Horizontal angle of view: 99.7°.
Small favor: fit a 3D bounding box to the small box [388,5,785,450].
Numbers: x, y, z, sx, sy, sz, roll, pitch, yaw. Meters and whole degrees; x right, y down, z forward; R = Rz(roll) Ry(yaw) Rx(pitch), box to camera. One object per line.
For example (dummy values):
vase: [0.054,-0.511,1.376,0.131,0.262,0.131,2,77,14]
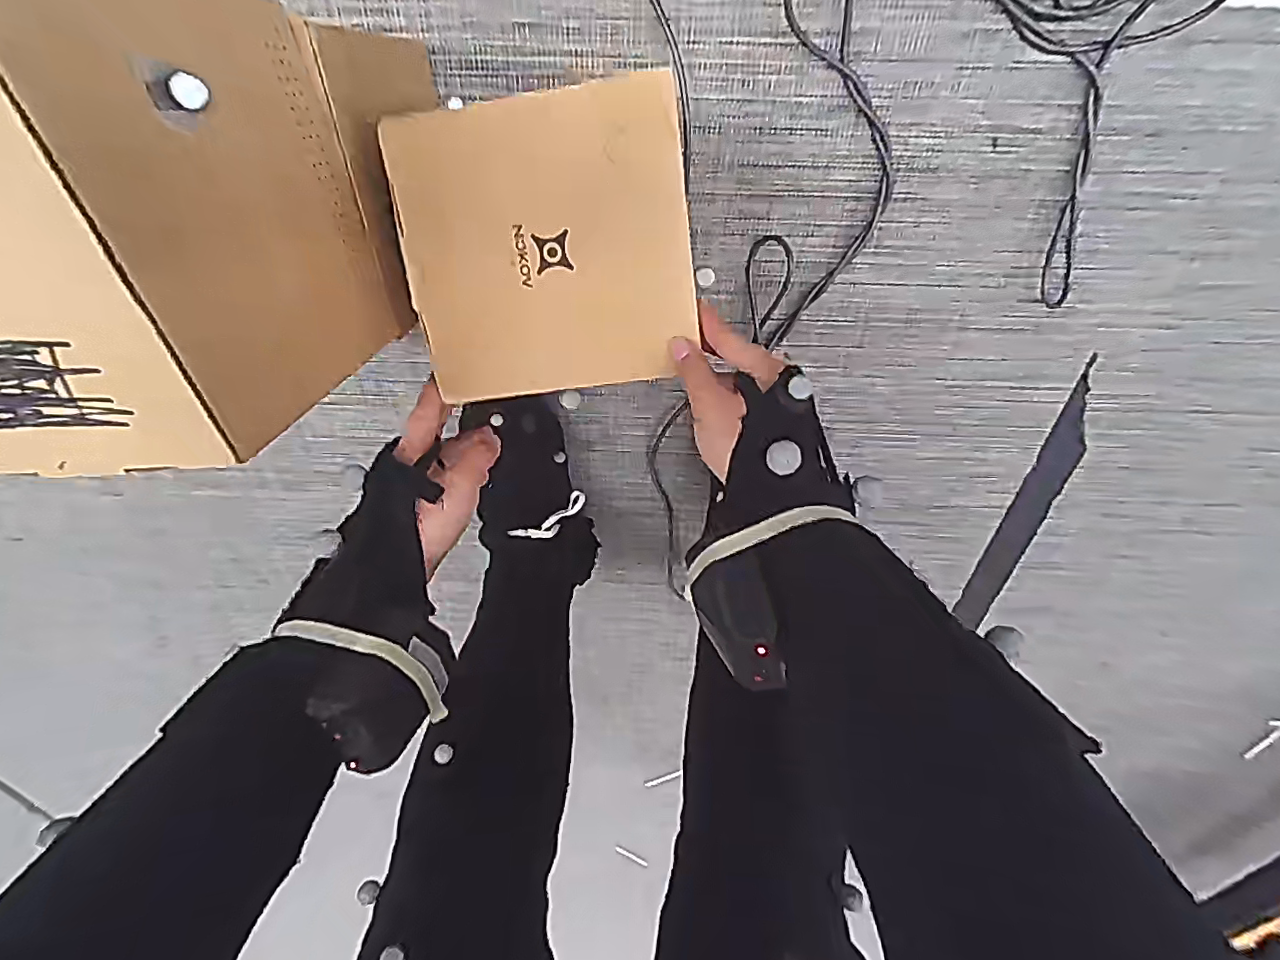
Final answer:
small box: [-0.039,-0.133,0.330,0.168,0.176,0.179,14,116,-13]
